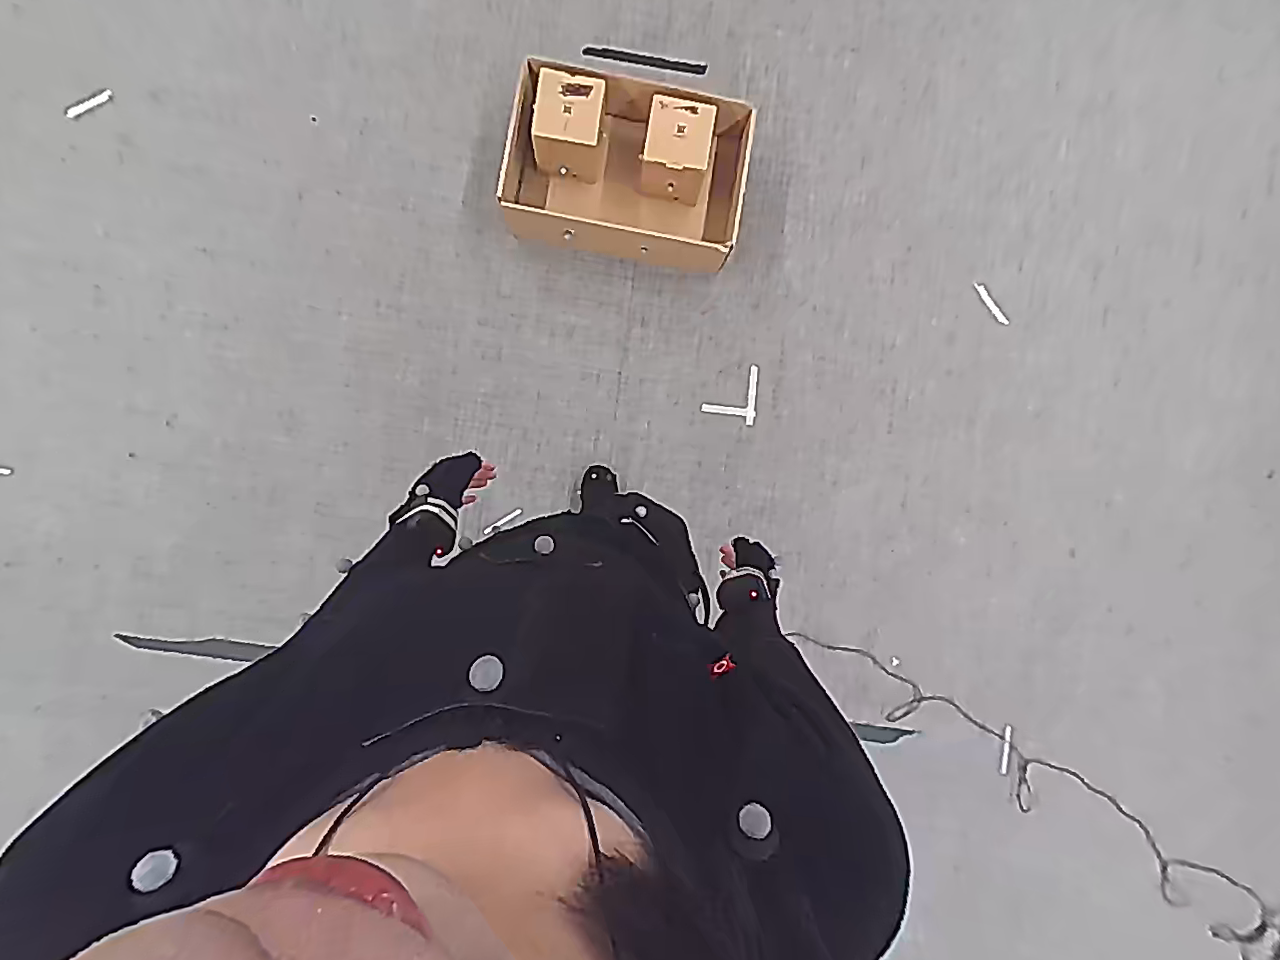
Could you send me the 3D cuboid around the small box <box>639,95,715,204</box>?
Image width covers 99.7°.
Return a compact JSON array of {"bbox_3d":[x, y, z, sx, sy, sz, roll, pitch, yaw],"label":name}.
[{"bbox_3d":[0.095,-0.871,1.443,0.168,0.176,0.179,11,89,-1],"label":"small box"}]
